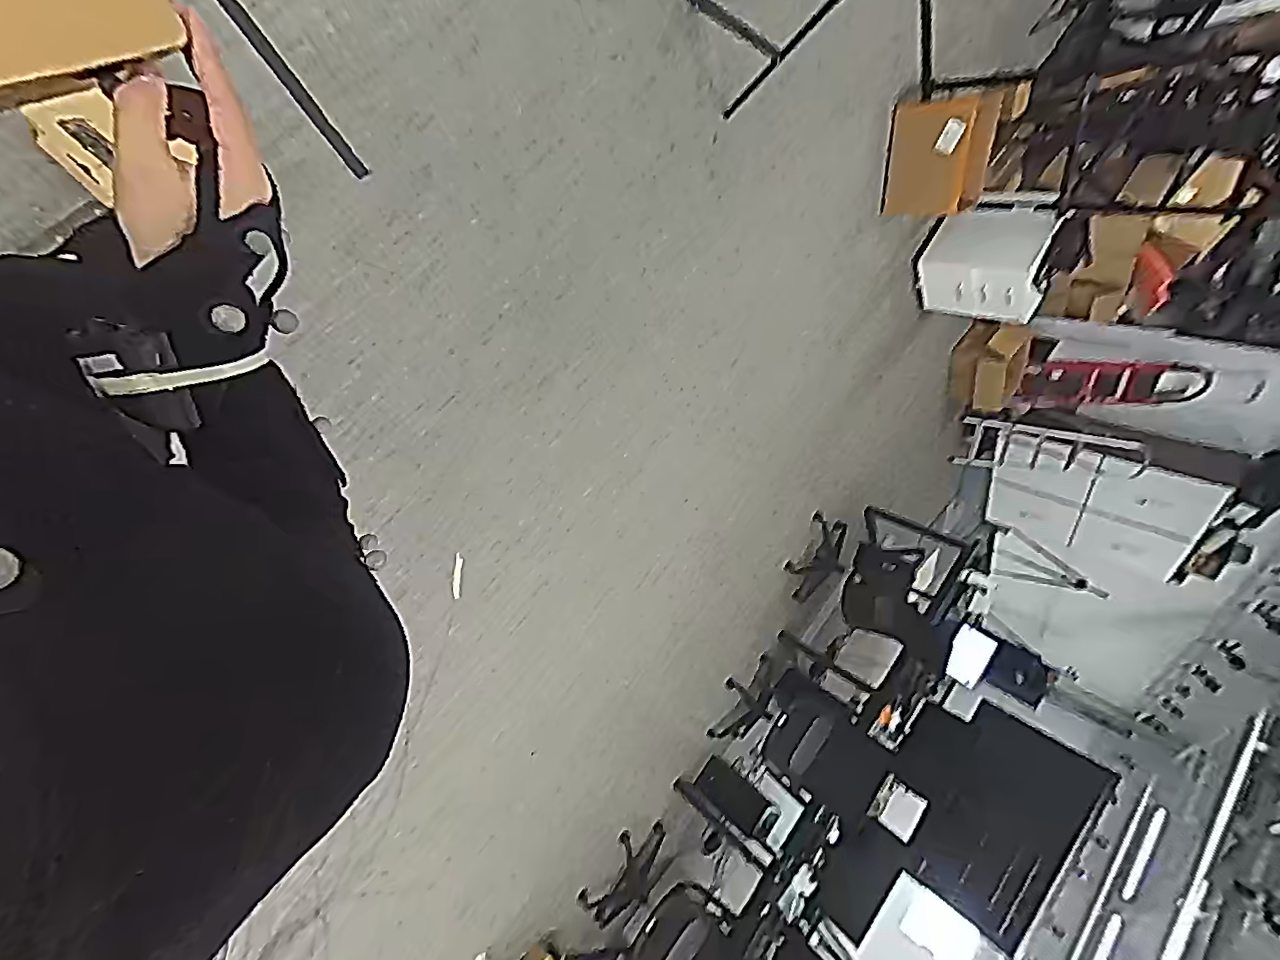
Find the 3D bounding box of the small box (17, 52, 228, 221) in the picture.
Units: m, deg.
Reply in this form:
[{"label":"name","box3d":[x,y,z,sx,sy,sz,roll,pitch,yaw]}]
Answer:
[{"label":"small box","box3d":[-0.817,-0.539,0.867,0.179,0.176,0.168,-49,138,-18]}]
